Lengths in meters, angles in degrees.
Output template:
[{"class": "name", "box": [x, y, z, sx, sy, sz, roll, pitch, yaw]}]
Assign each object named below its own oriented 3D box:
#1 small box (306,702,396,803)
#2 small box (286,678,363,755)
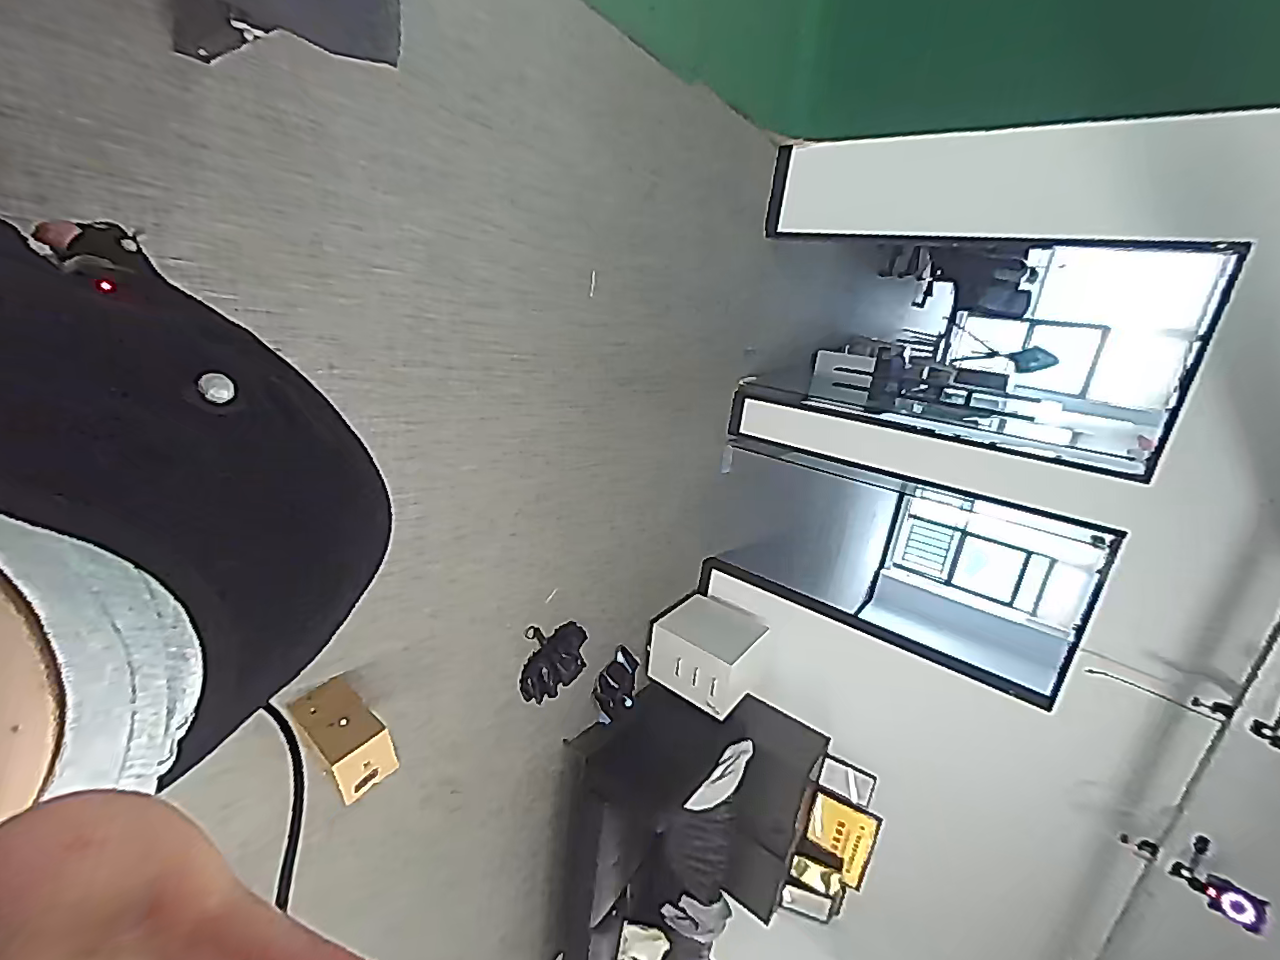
[{"class": "small box", "box": [-0.871, 0.812, 1.630, 0.168, 0.176, 0.179, -29, 128, -44]}, {"class": "small box", "box": [-0.995, 0.765, 1.728, 0.168, 0.176, 0.179, -29, 131, -43]}]
